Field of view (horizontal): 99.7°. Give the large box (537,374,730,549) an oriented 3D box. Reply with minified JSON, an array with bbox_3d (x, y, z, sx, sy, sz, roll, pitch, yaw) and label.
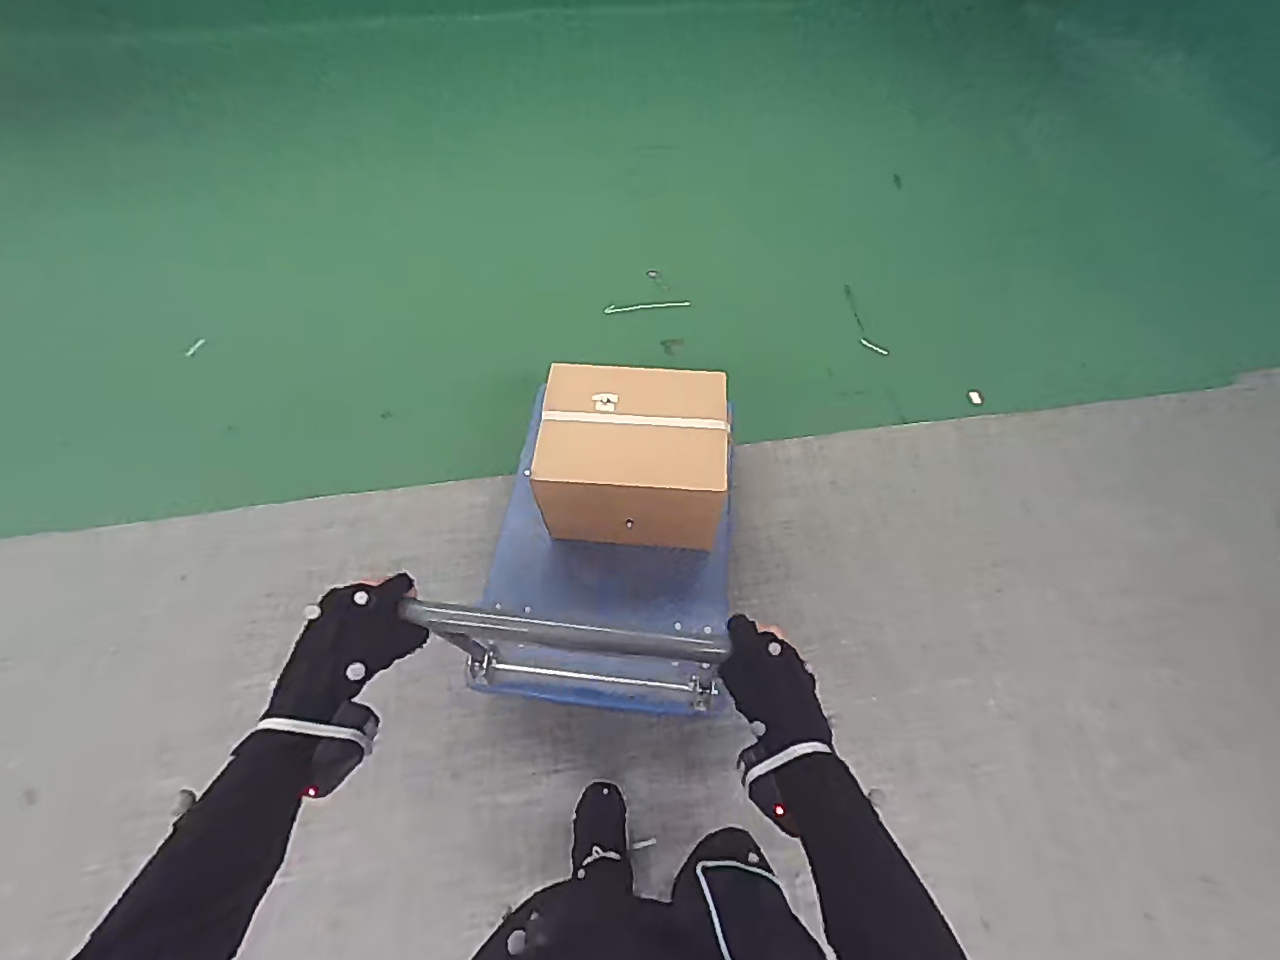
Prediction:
[{"bbox_3d":[-0.004,-0.035,1.305,0.408,0.320,0.320,3,59,2],"label":"large box"}]
